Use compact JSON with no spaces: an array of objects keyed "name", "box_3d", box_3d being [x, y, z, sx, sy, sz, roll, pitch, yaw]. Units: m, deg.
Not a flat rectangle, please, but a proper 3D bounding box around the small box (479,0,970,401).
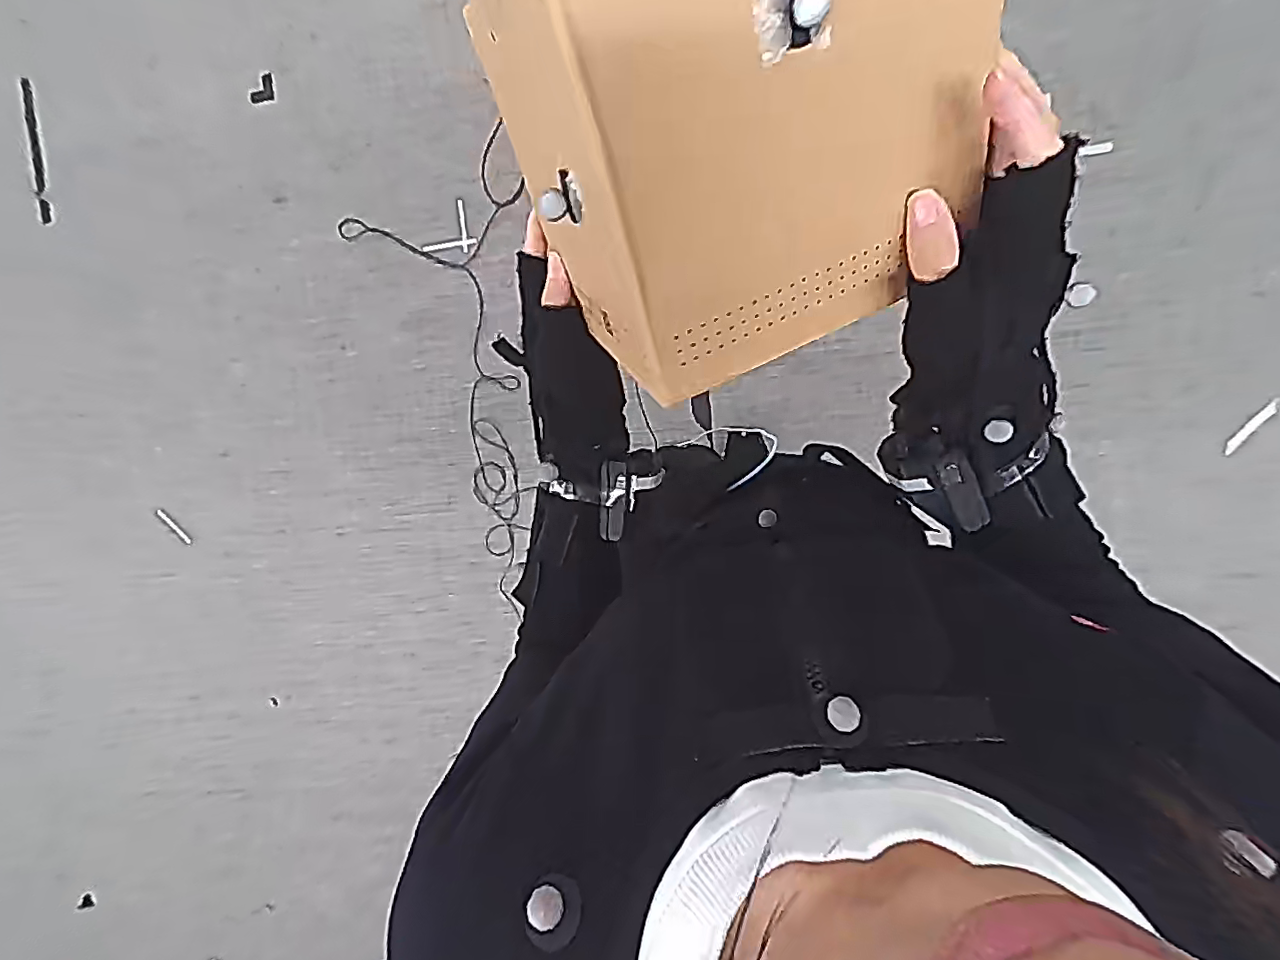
[{"name":"small box","box_3d":[0.041,-0.165,0.276,0.179,0.168,0.176,-24,129,-6]}]
